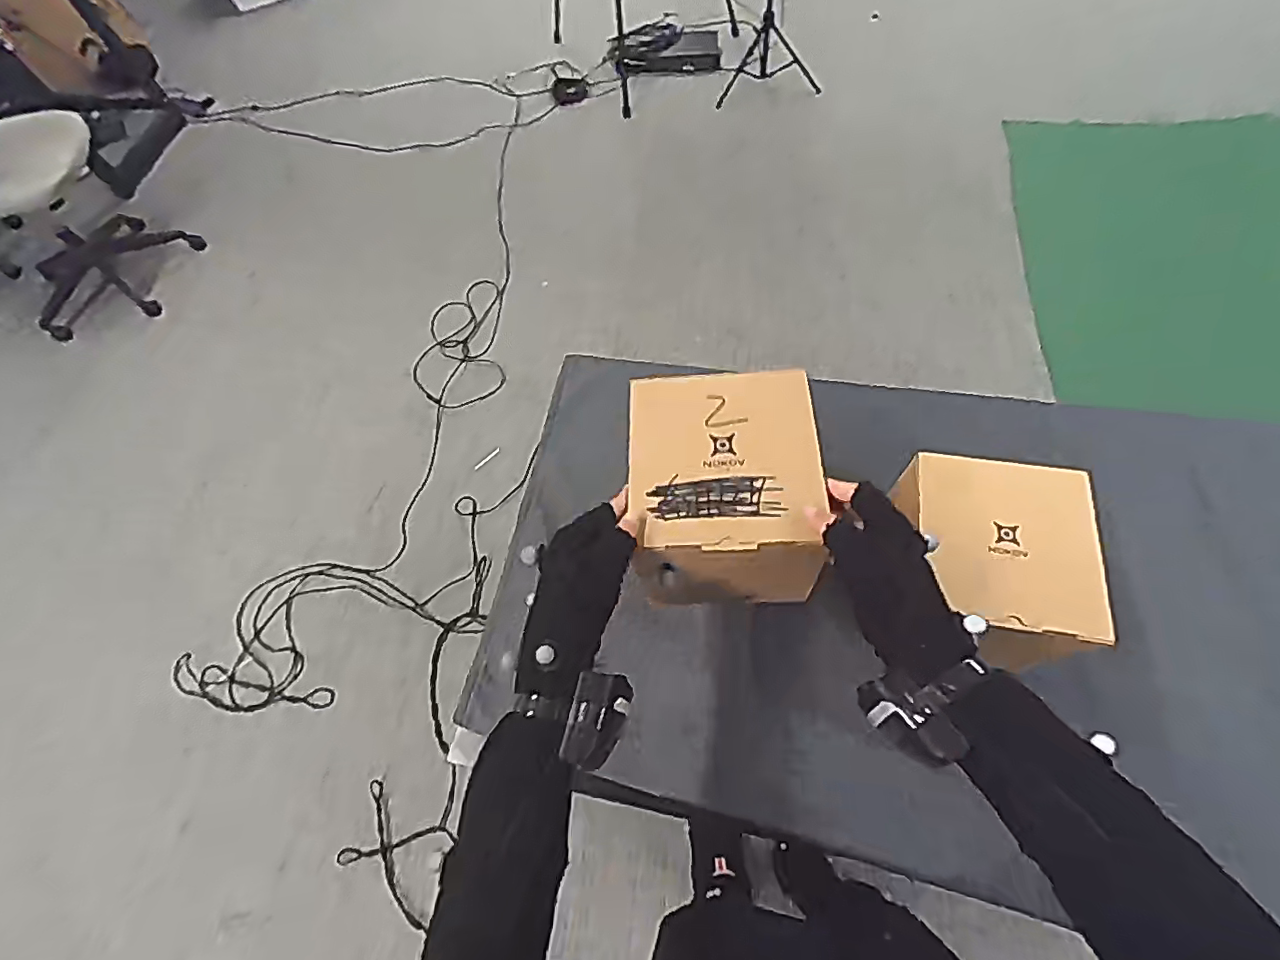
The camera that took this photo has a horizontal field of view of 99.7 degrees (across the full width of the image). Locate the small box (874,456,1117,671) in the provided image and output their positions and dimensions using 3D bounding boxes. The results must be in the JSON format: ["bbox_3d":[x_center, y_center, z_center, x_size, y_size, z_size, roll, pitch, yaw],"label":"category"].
[{"bbox_3d":[0.367,0.097,0.597,0.168,0.176,0.179,8,65,11],"label":"small box"}]
